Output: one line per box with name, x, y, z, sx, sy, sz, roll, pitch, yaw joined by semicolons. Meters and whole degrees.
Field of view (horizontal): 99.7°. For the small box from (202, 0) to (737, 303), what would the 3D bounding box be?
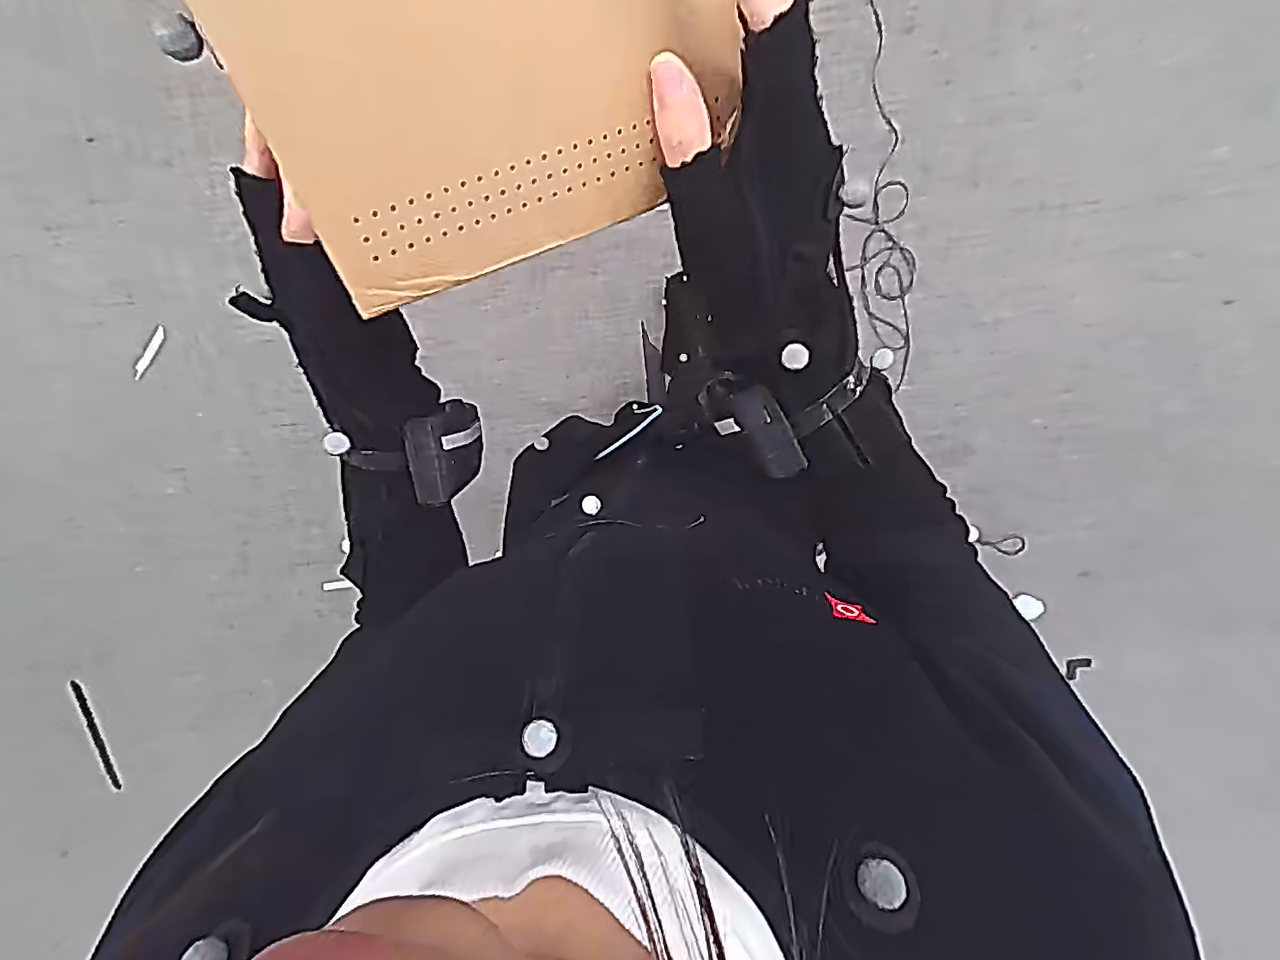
small box;-0.076;-0.197;0.231;0.179;0.168;0.176;-26;132;-13
